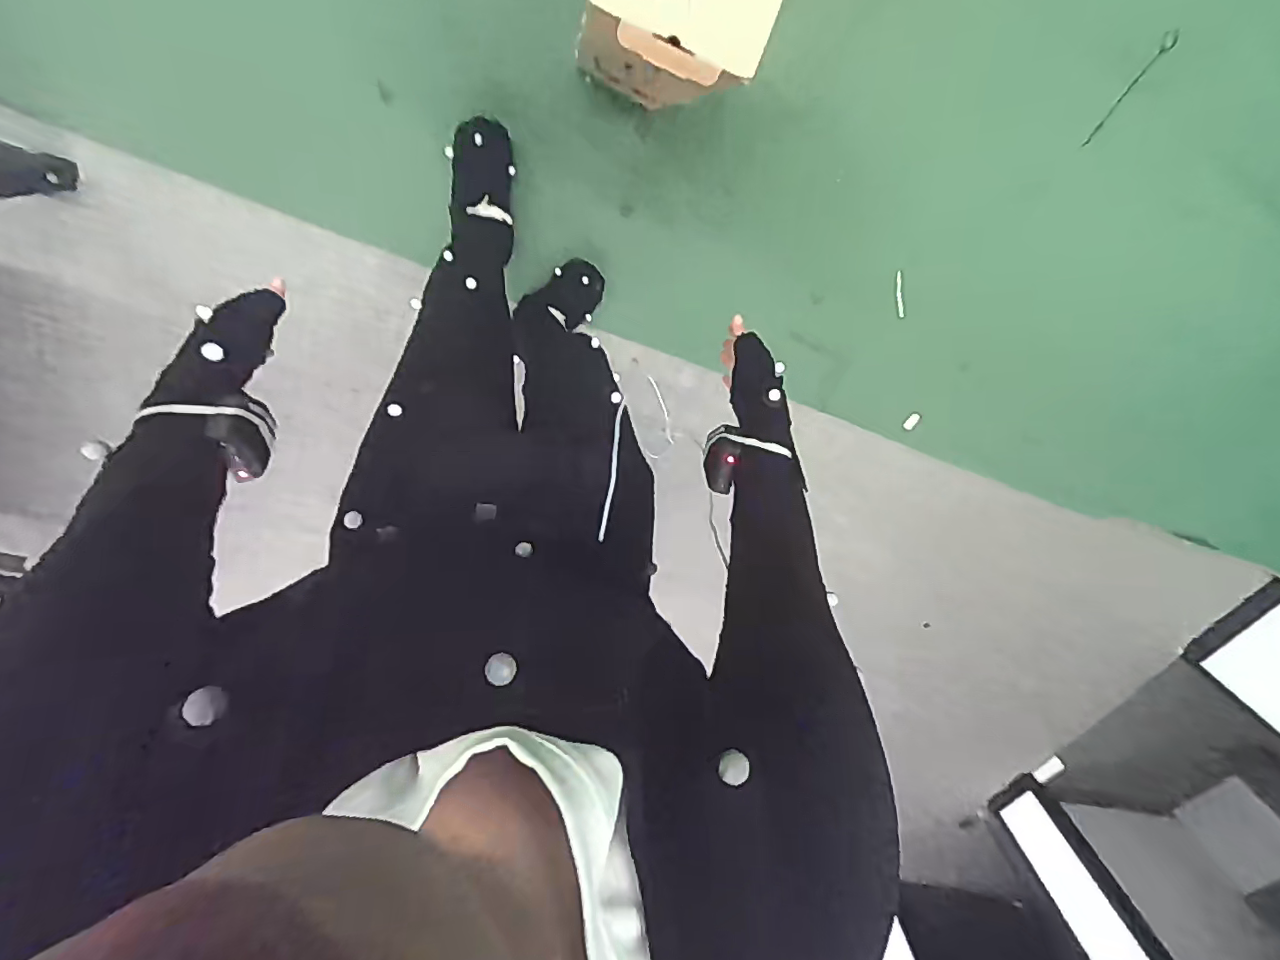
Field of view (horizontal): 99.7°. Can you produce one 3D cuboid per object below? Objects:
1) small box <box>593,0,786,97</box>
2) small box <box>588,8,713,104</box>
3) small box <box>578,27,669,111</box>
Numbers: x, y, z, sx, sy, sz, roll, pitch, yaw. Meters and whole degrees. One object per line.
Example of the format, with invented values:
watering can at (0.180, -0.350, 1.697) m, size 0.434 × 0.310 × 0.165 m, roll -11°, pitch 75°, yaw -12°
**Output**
small box at (0.054, -0.513, 0.534) m, size 0.168 × 0.176 × 0.179 m, roll 15°, pitch 120°, yaw -16°
small box at (0.037, -0.603, 0.672) m, size 0.168 × 0.176 × 0.179 m, roll 16°, pitch 119°, yaw -17°
small box at (-0.001, -0.778, 0.945) m, size 0.168 × 0.176 × 0.179 m, roll 19°, pitch 118°, yaw -18°
